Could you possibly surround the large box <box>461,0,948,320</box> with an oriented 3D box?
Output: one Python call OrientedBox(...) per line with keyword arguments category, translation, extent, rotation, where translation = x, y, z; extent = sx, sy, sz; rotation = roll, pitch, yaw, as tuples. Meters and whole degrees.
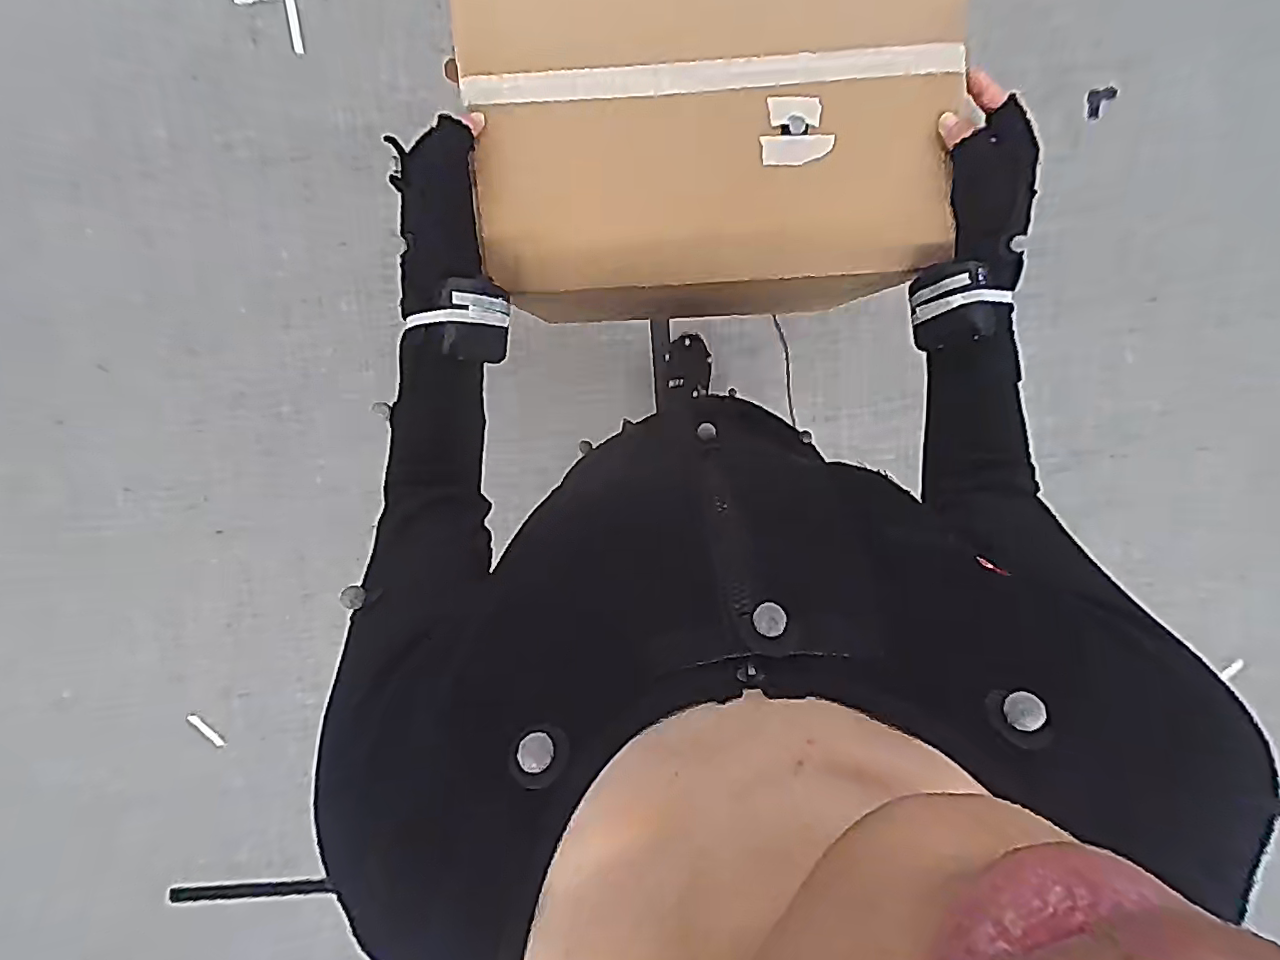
OrientedBox(category="large box", translation=(0.055, -0.365, 0.599), extent=(0.408, 0.320, 0.320), rotation=(-4, 102, 0))
